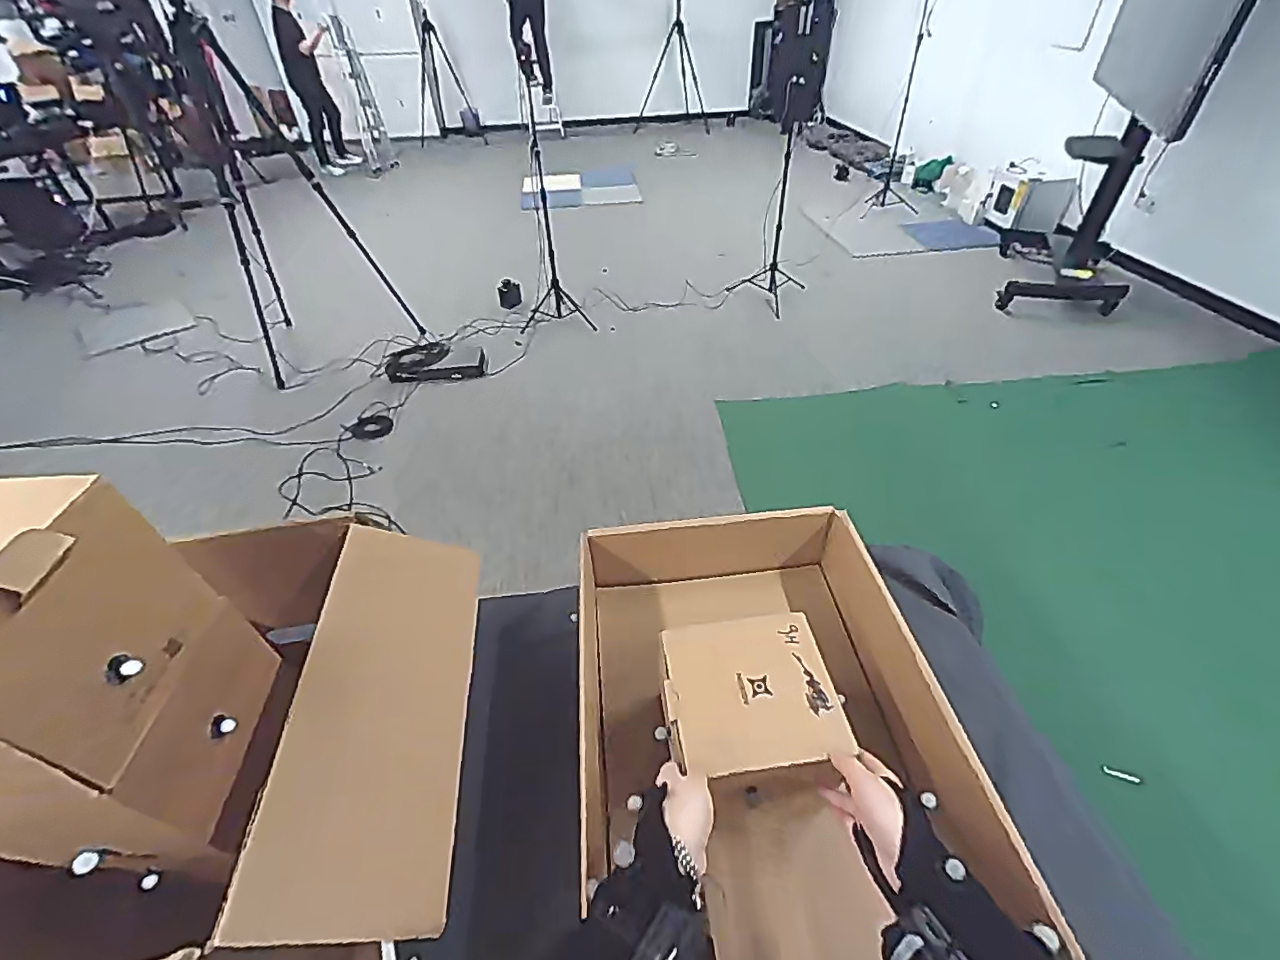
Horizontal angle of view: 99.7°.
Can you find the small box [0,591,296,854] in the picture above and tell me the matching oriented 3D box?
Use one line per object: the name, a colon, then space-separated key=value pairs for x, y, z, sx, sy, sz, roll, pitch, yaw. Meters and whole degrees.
small box: x=-0.466 y=0.228 z=0.512 sx=0.168 sy=0.176 sz=0.179 roll=-3 pitch=45 yaw=-2
